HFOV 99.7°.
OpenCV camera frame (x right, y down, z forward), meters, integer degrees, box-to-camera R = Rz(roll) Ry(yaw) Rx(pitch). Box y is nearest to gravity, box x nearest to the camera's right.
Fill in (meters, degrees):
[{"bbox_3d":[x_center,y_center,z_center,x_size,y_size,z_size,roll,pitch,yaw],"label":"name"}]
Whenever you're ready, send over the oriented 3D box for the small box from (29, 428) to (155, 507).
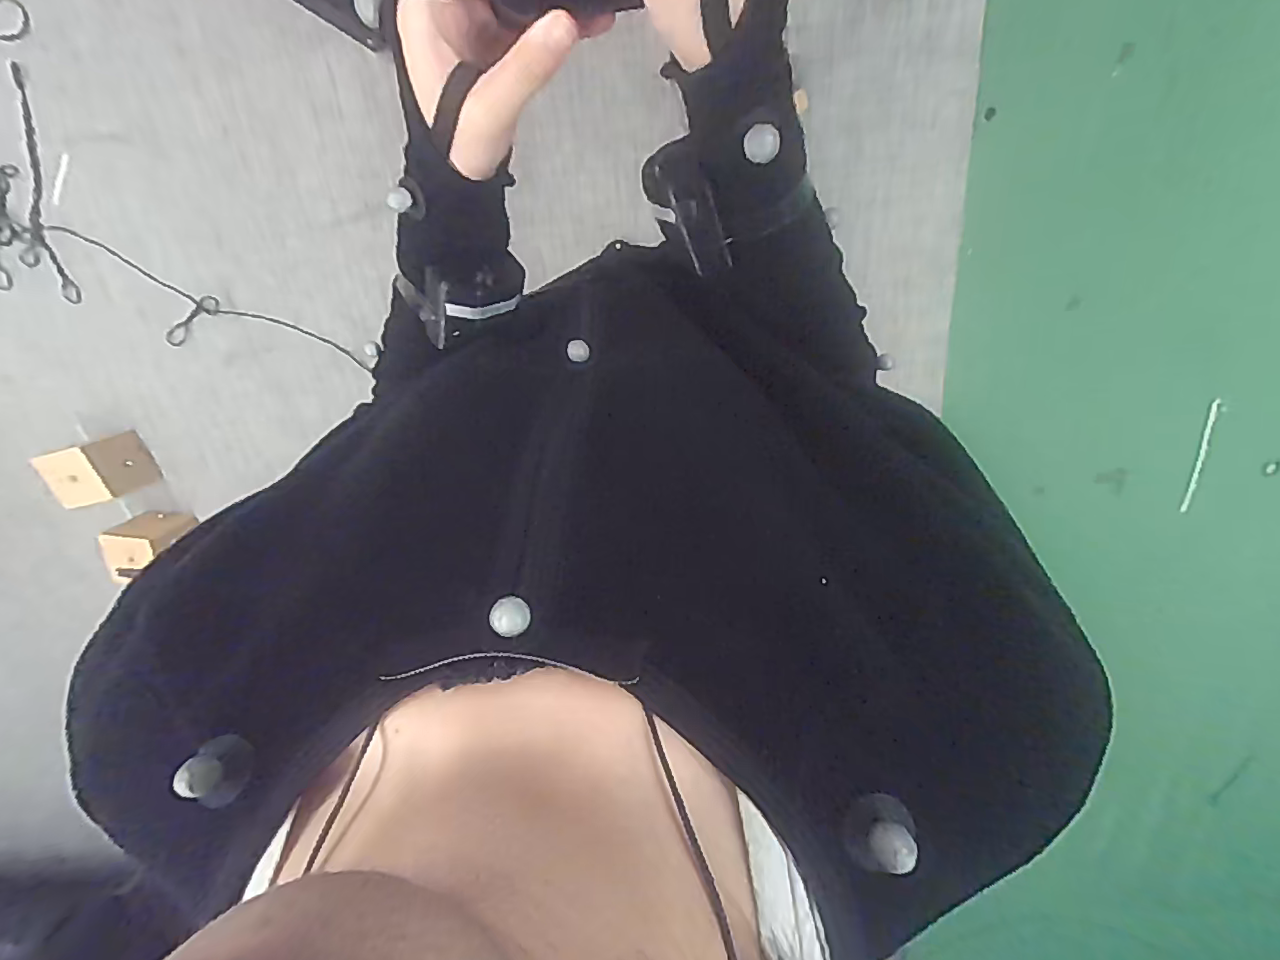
[{"bbox_3d":[-1.600,-0.042,1.598,0.179,0.176,0.168,-11,112,10],"label":"small box"}]
